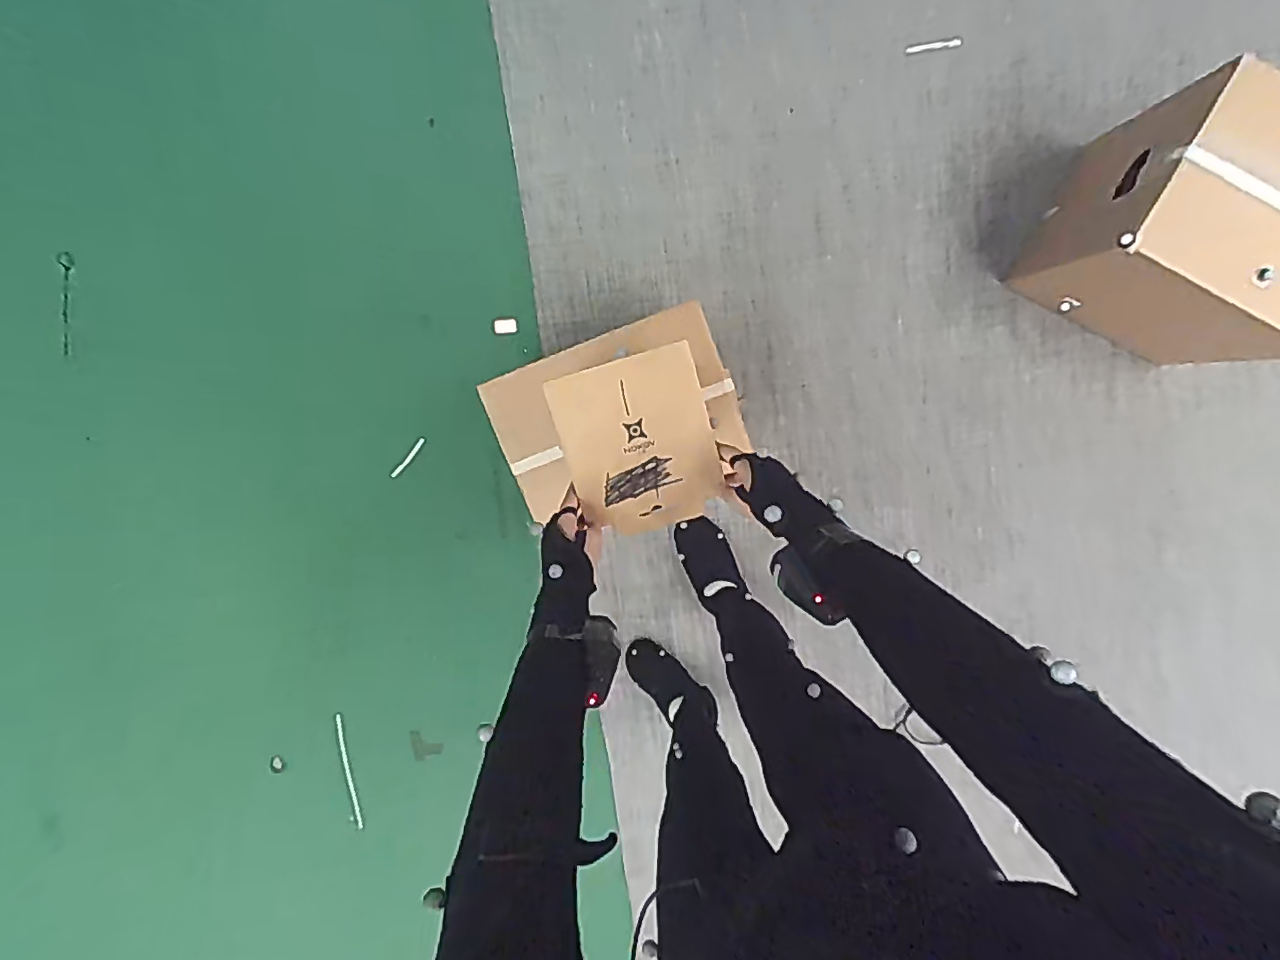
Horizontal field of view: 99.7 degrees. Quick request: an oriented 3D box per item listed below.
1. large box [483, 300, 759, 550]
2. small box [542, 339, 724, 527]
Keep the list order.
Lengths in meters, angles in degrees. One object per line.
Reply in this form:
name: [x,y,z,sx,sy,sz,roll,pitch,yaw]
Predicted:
large box: [-0.025,-0.111,1.074,0.408,0.320,0.320,-21,97,6]
small box: [-0.003,-0.063,0.667,0.168,0.176,0.179,-16,99,4]
